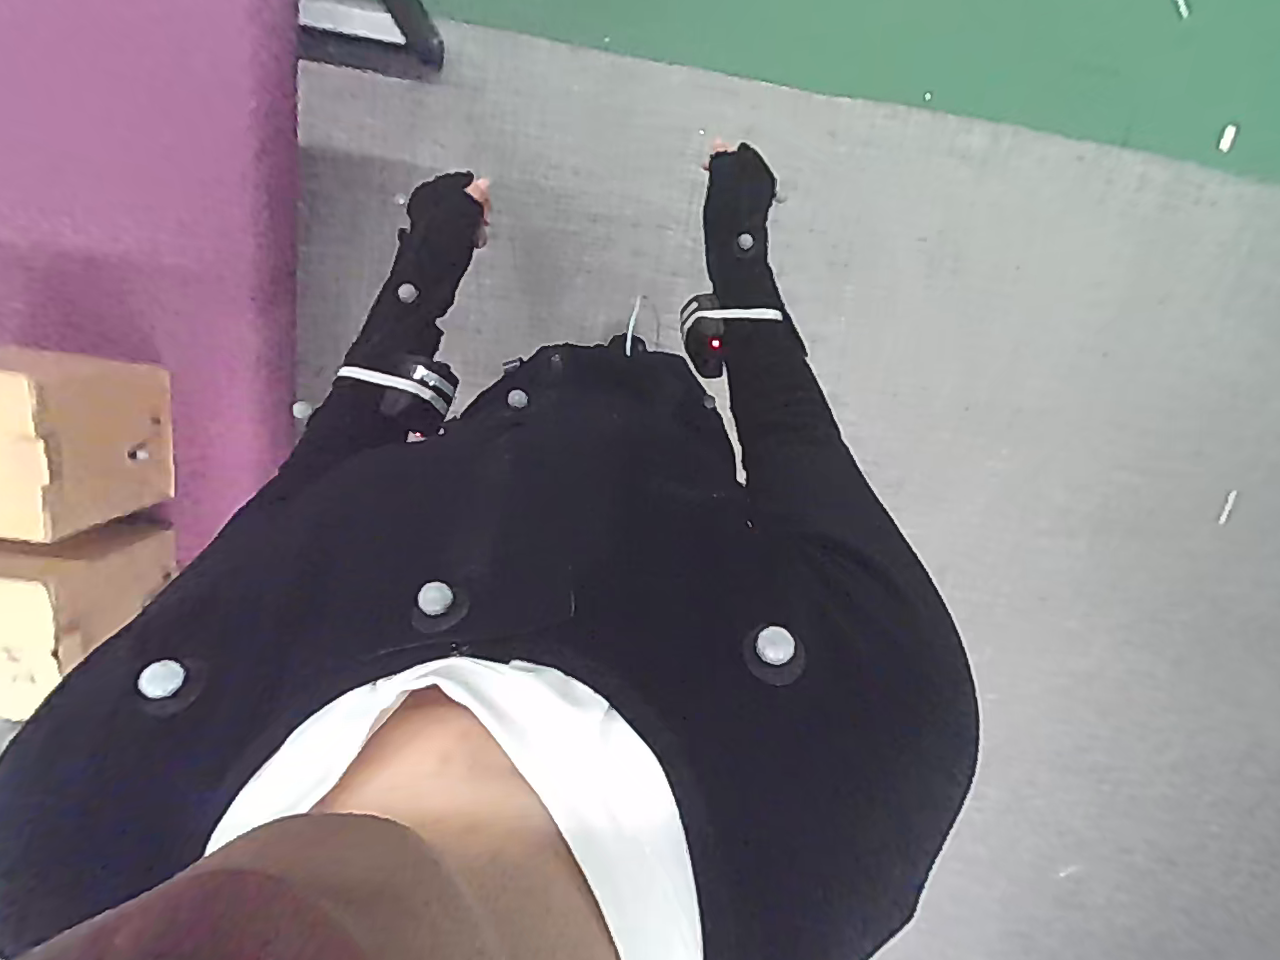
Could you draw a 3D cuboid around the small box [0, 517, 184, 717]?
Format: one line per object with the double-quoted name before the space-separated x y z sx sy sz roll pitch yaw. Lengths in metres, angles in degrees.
"small box" -0.694 0.149 0.639 0.179 0.176 0.168 7 103 -6
